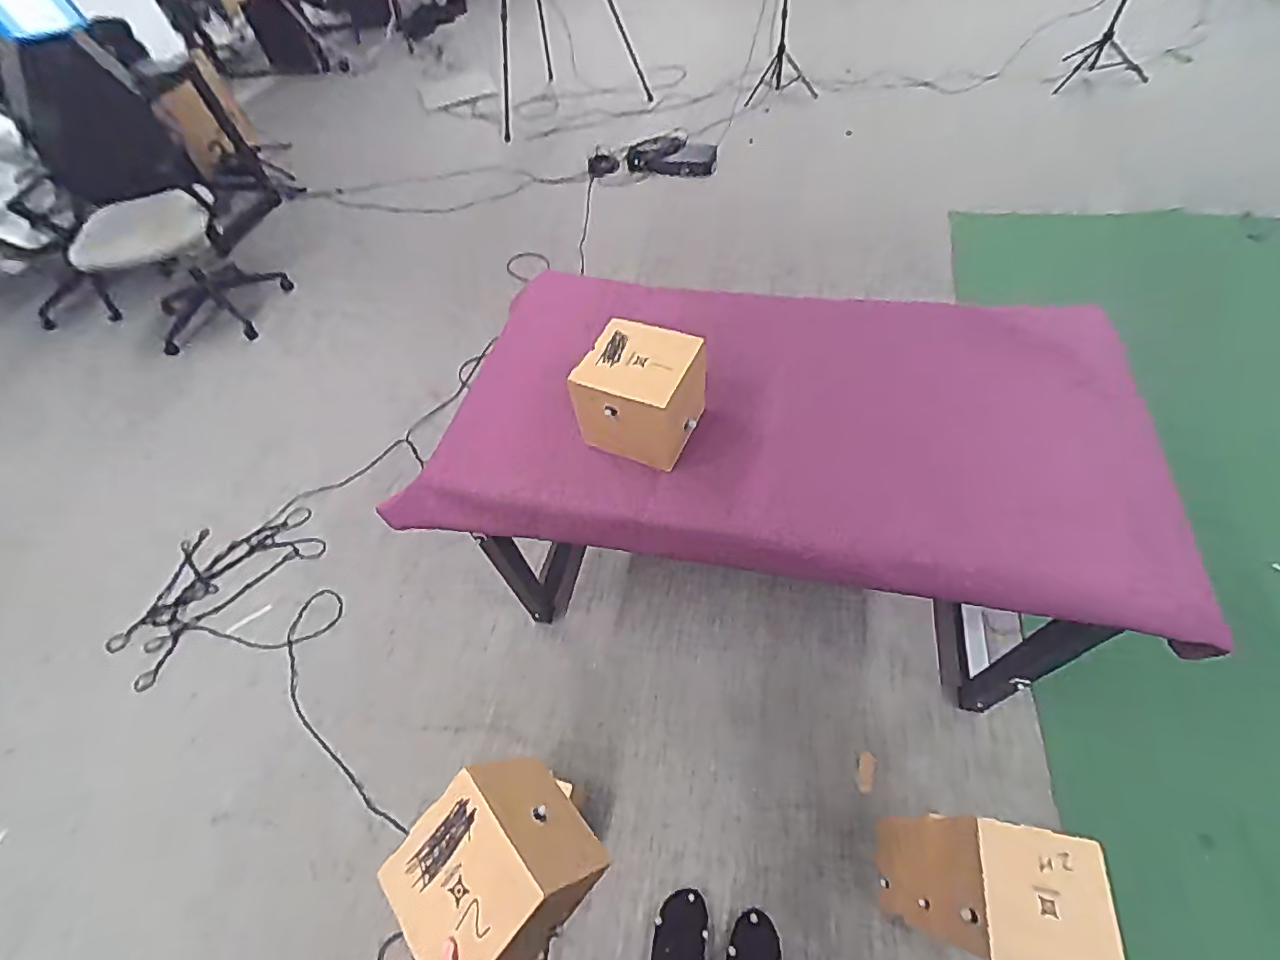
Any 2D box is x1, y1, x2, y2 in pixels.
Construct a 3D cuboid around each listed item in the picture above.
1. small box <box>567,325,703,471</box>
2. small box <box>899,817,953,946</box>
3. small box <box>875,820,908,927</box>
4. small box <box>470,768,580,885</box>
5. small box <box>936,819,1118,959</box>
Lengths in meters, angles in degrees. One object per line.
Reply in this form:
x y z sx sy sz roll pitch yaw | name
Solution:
0.000 -0.140 0.945 0.179 0.176 0.168 19 59 18 | small box
0.570 0.718 0.956 0.168 0.176 0.179 6 57 11 | small box
0.581 0.809 1.089 0.179 0.176 0.168 8 56 12 | small box
-0.245 0.776 1.213 0.168 0.176 0.179 10 57 14 | small box
0.566 0.633 0.814 0.168 0.176 0.179 7 57 11 | small box
